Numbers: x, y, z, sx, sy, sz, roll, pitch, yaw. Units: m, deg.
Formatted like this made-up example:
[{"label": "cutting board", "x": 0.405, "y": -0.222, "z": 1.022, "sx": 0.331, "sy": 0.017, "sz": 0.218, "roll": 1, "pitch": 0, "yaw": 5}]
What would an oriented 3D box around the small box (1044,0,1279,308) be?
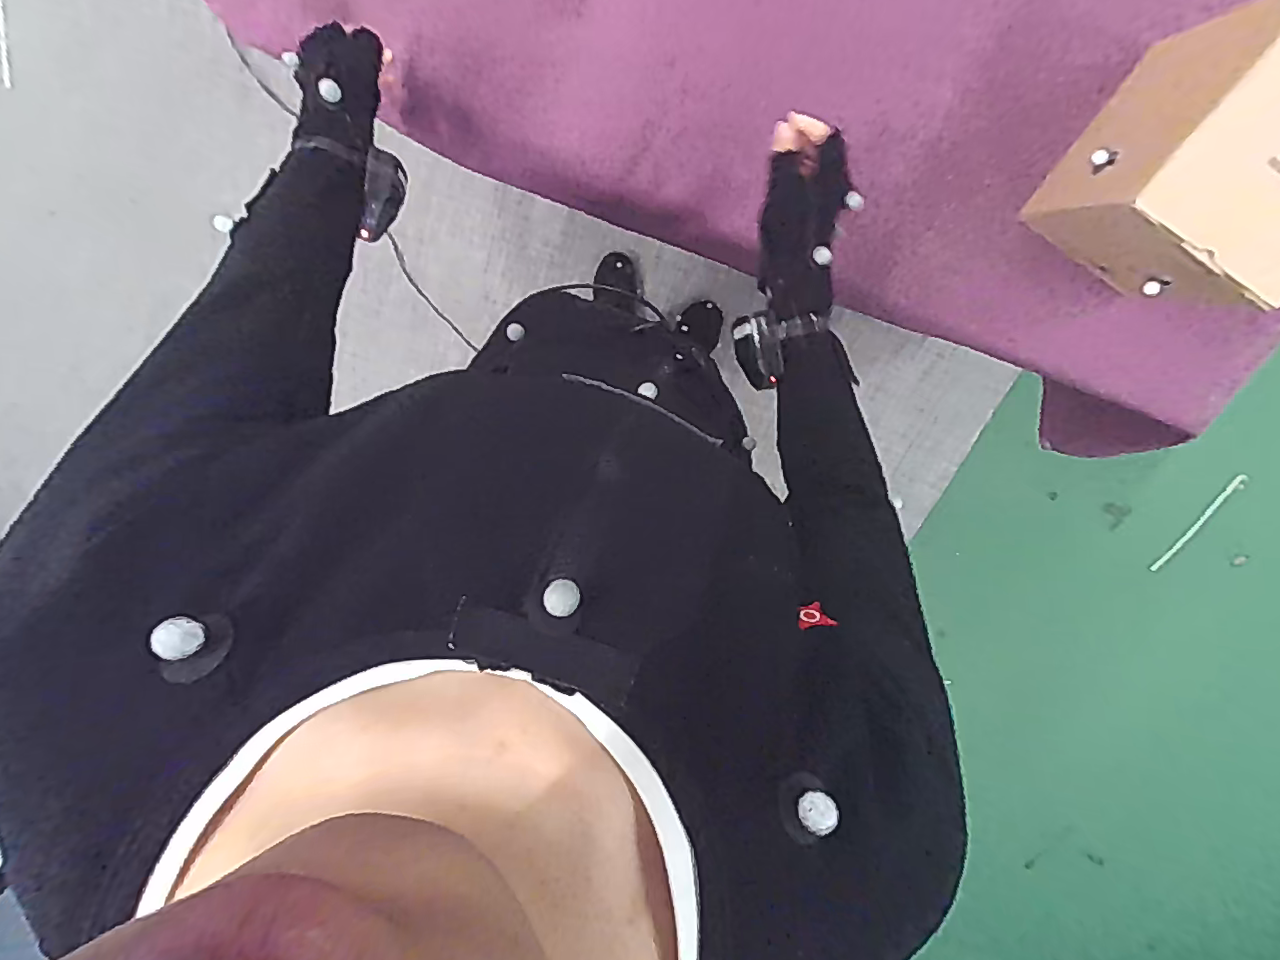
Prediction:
[{"label": "small box", "x": 0.514, "y": -0.279, "z": 0.482, "sx": 0.168, "sy": 0.176, "sz": 0.179, "roll": 31, "pitch": 112, "yaw": -8}]
